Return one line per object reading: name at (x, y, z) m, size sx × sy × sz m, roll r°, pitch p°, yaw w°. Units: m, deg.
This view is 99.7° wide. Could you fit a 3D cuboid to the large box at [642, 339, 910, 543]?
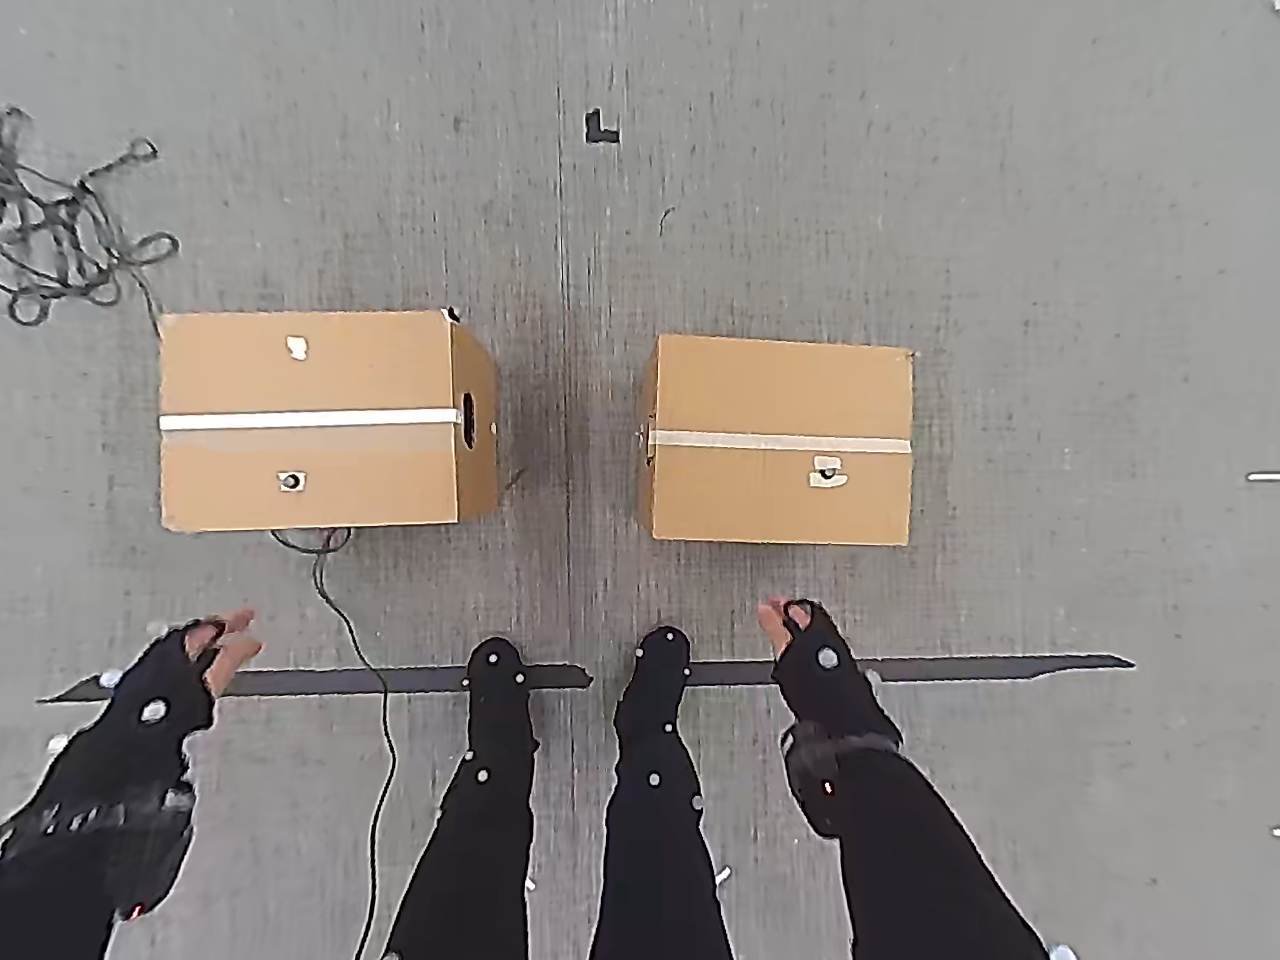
large box at (0.215, -0.055, 0.991) m, size 0.408 × 0.320 × 0.320 m, roll 2°, pitch 90°, yaw -5°
